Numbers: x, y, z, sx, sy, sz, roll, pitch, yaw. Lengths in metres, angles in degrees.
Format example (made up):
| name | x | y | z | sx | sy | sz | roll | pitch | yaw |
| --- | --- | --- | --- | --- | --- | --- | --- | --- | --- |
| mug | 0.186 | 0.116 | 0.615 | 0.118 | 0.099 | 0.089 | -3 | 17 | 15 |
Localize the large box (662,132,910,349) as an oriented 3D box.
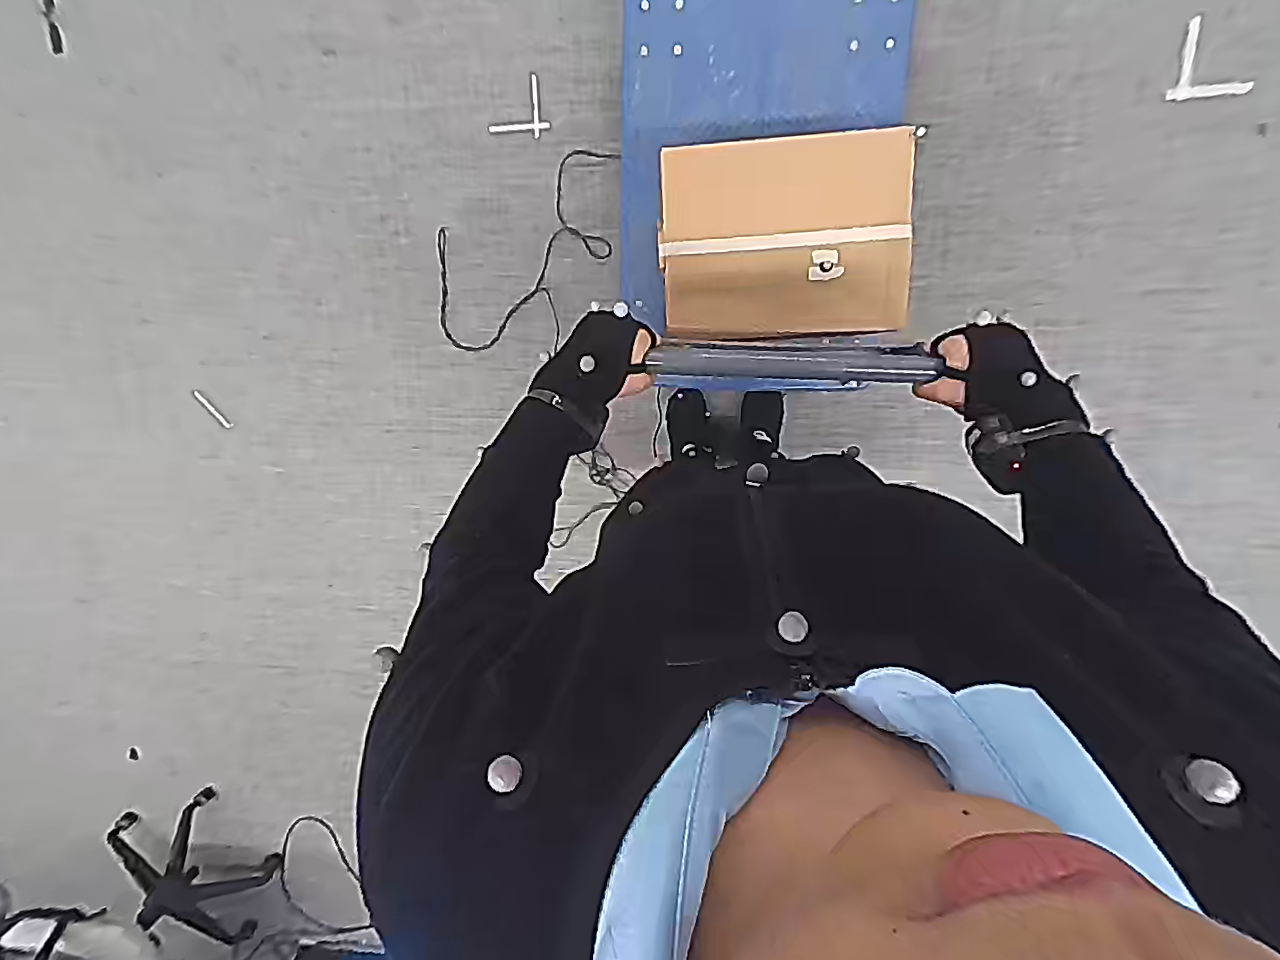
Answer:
| name | x | y | z | sx | sy | sz | roll | pitch | yaw |
| --- | --- | --- | --- | --- | --- | --- | --- | --- | --- |
| large box | 0.255 | -0.430 | 1.057 | 0.408 | 0.320 | 0.320 | -2 | 103 | 5 |
